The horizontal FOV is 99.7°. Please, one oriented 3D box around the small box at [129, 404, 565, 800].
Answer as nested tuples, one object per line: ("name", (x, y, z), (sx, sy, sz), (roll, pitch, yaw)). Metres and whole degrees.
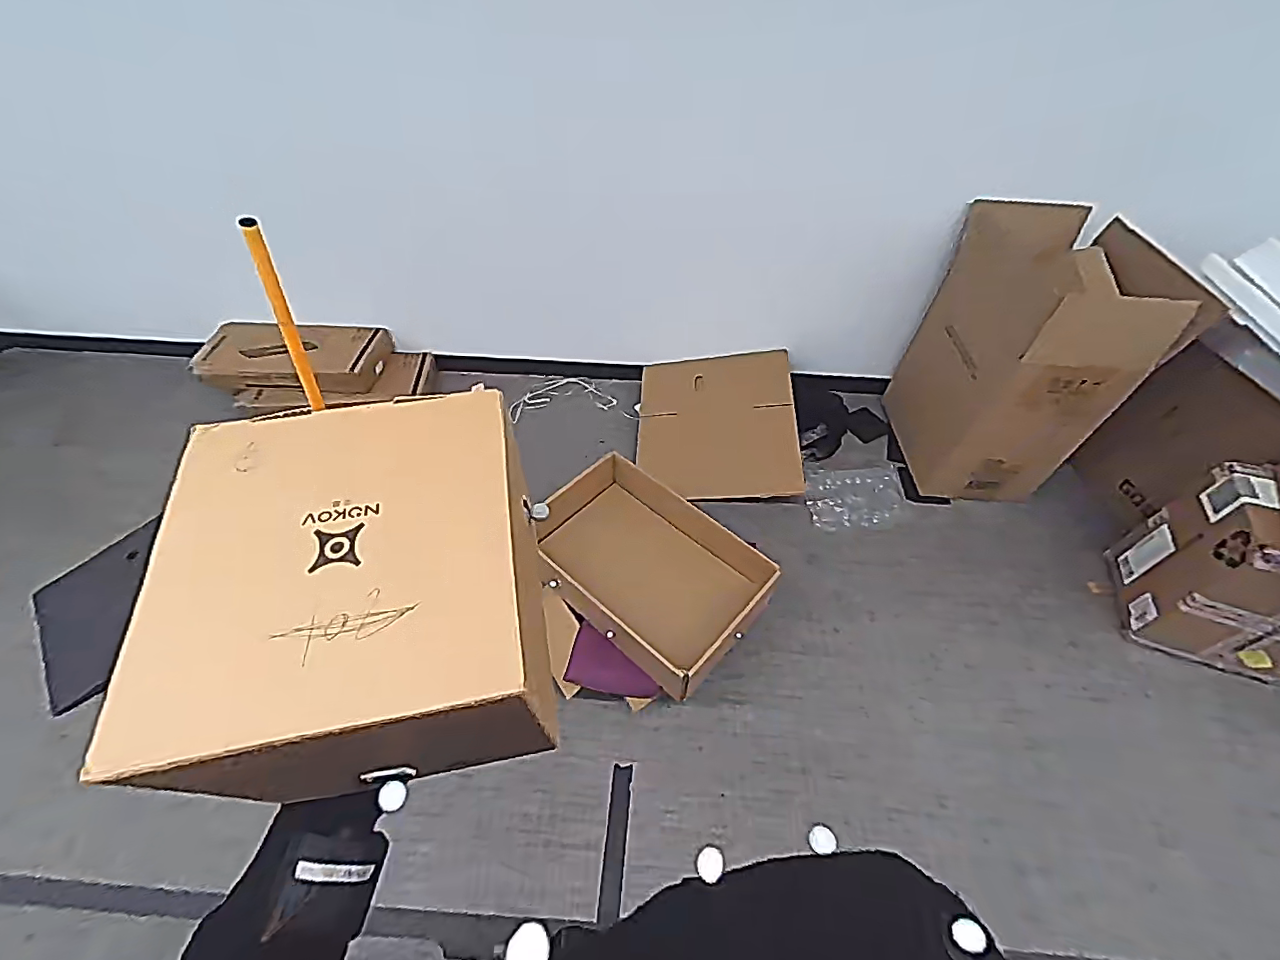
("small box", (-0.142, 0.080, 0.336), (0.168, 0.176, 0.179), (-9, 58, -8))
